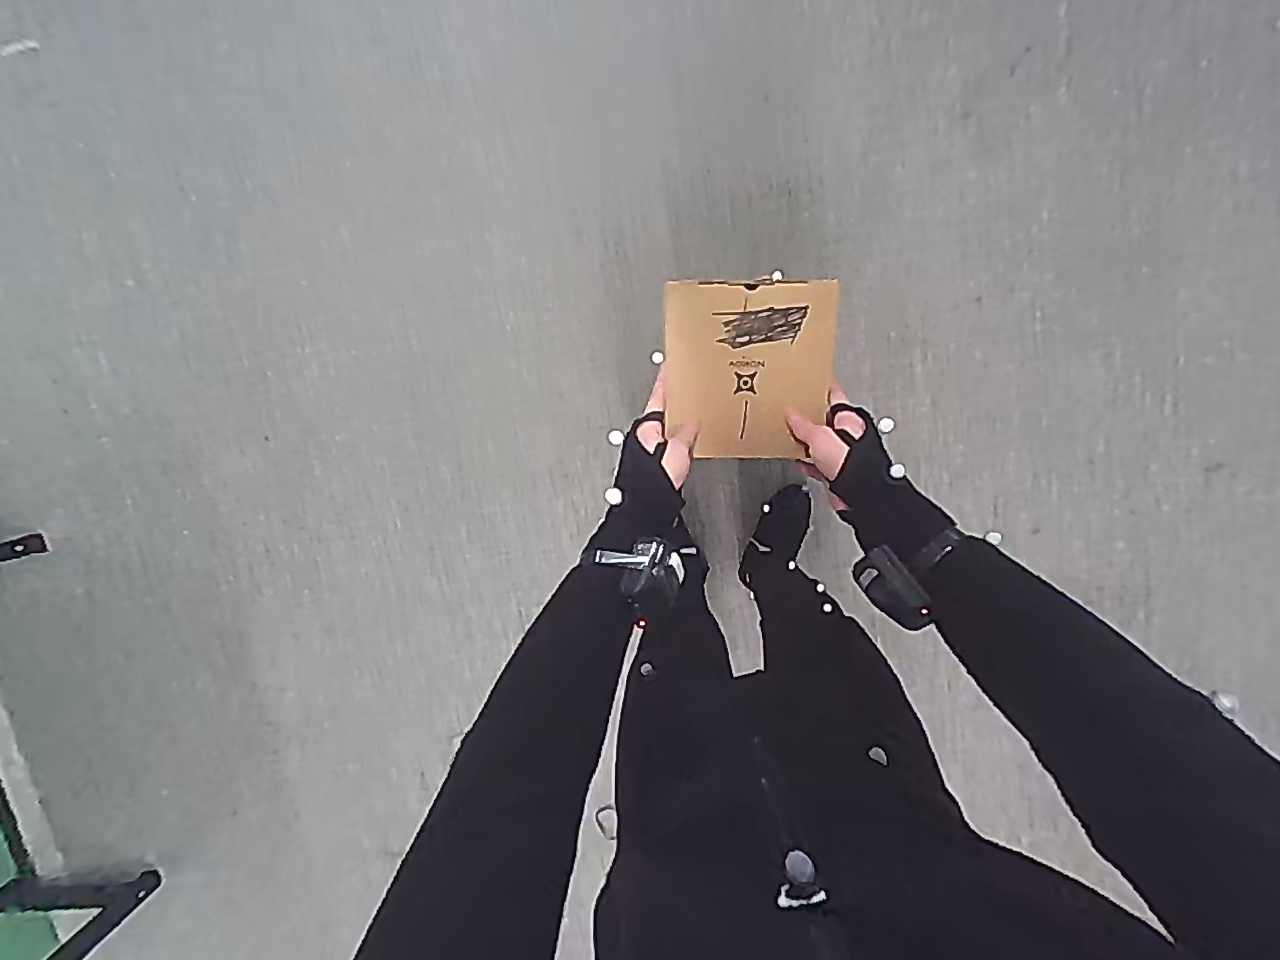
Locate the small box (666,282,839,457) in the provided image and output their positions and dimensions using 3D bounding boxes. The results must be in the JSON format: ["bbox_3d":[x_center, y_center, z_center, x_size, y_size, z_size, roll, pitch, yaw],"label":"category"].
[{"bbox_3d":[0.115,-0.131,0.624,0.168,0.176,0.179,0,108,3],"label":"small box"}]
